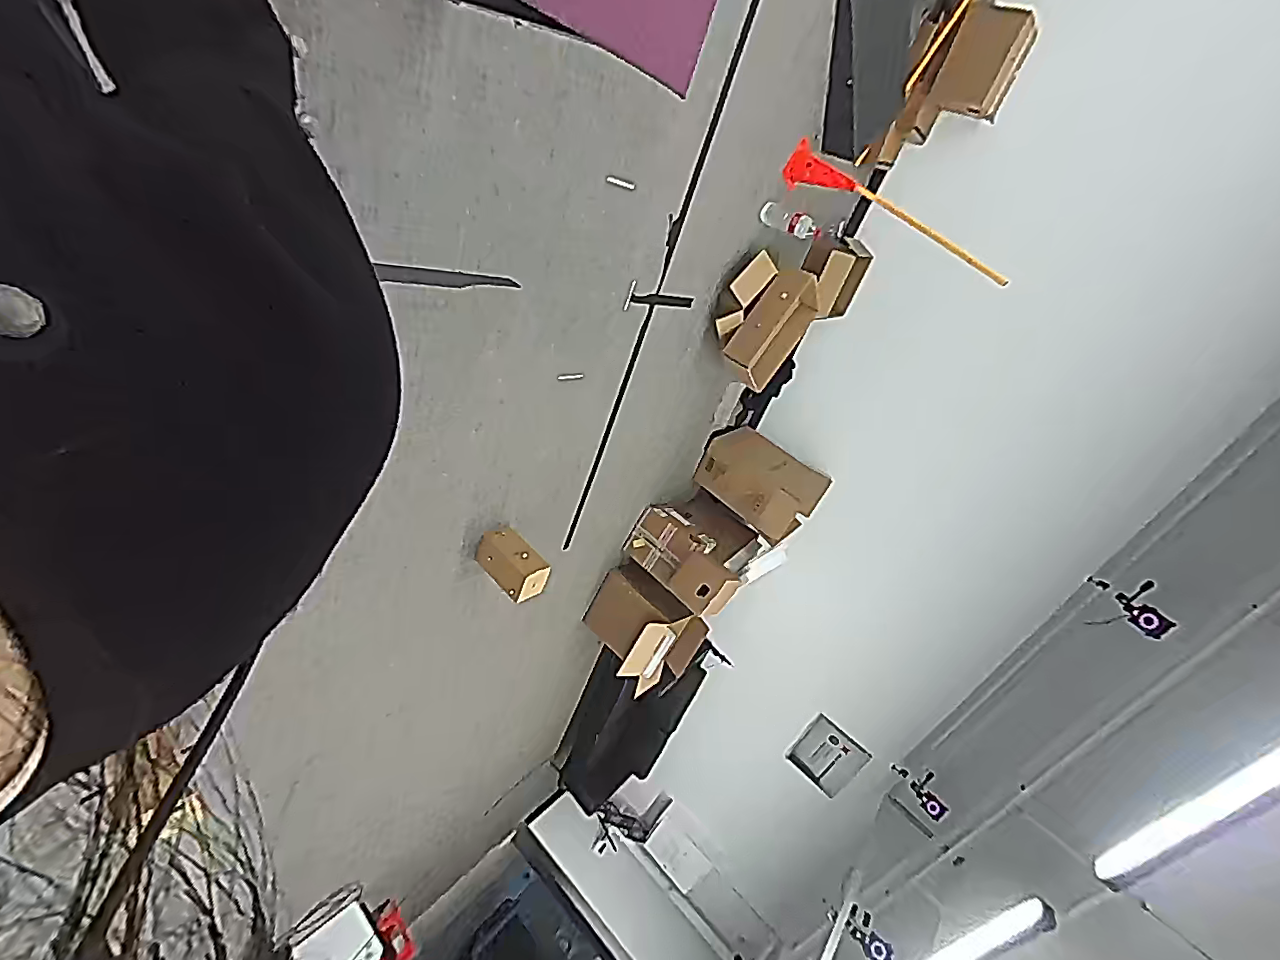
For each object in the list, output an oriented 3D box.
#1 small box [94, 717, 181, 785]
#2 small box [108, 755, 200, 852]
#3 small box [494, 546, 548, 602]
[{"bbox_3d":[-1.639,0.912,1.768,0.168,0.176,0.179,-23,144,-46],"label":"small box"},{"bbox_3d":[-1.524,1.005,1.696,0.168,0.176,0.179,-23,143,-47],"label":"small box"},{"bbox_3d":[-0.578,0.448,2.599,0.168,0.176,0.179,-16,137,-53],"label":"small box"}]
